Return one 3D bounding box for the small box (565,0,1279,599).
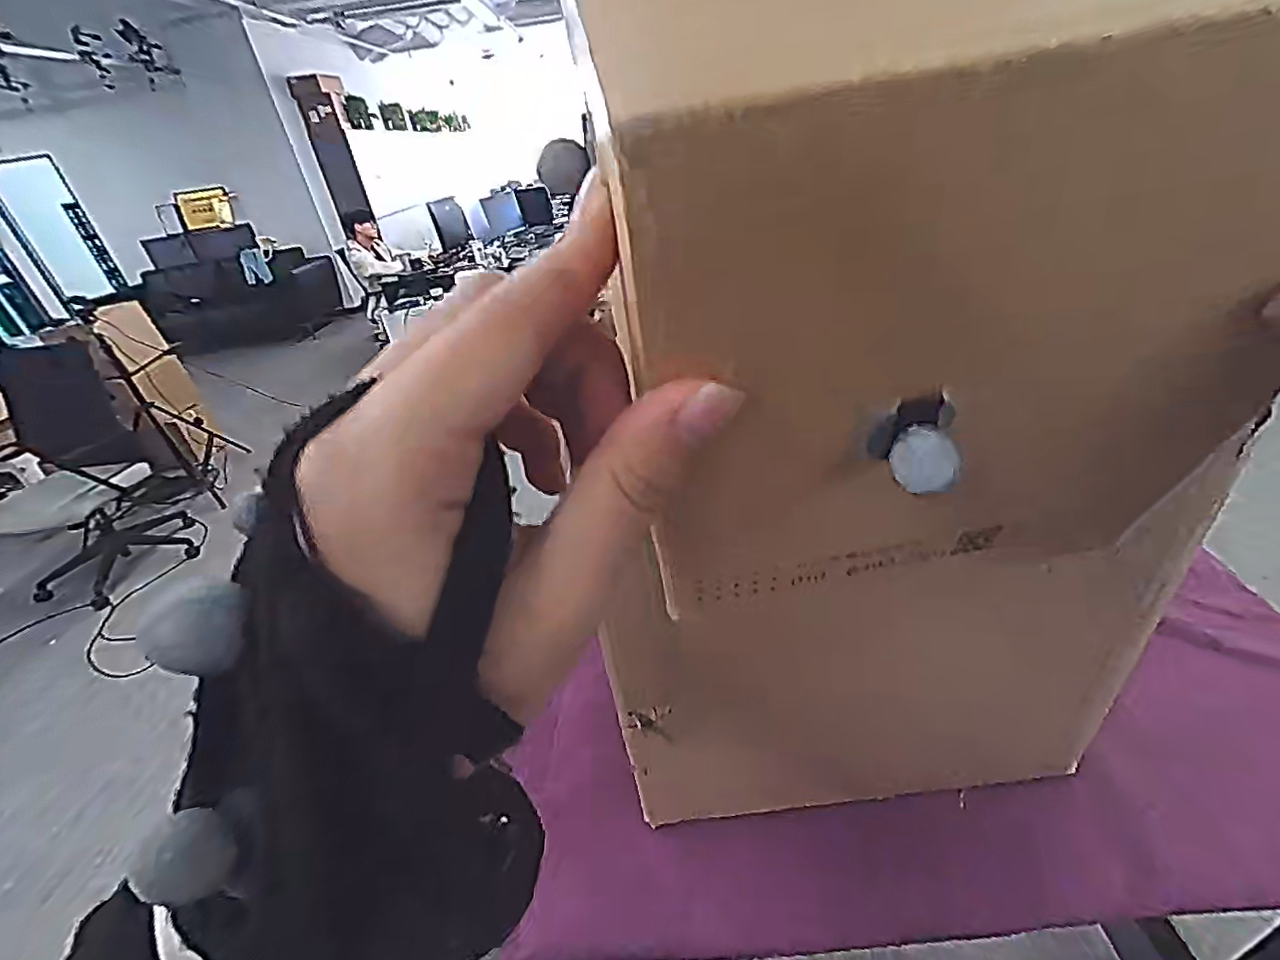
[{"bbox_3d":[0.075,-0.074,0.189,0.168,0.176,0.179,-11,51,0],"label":"small box"}]
